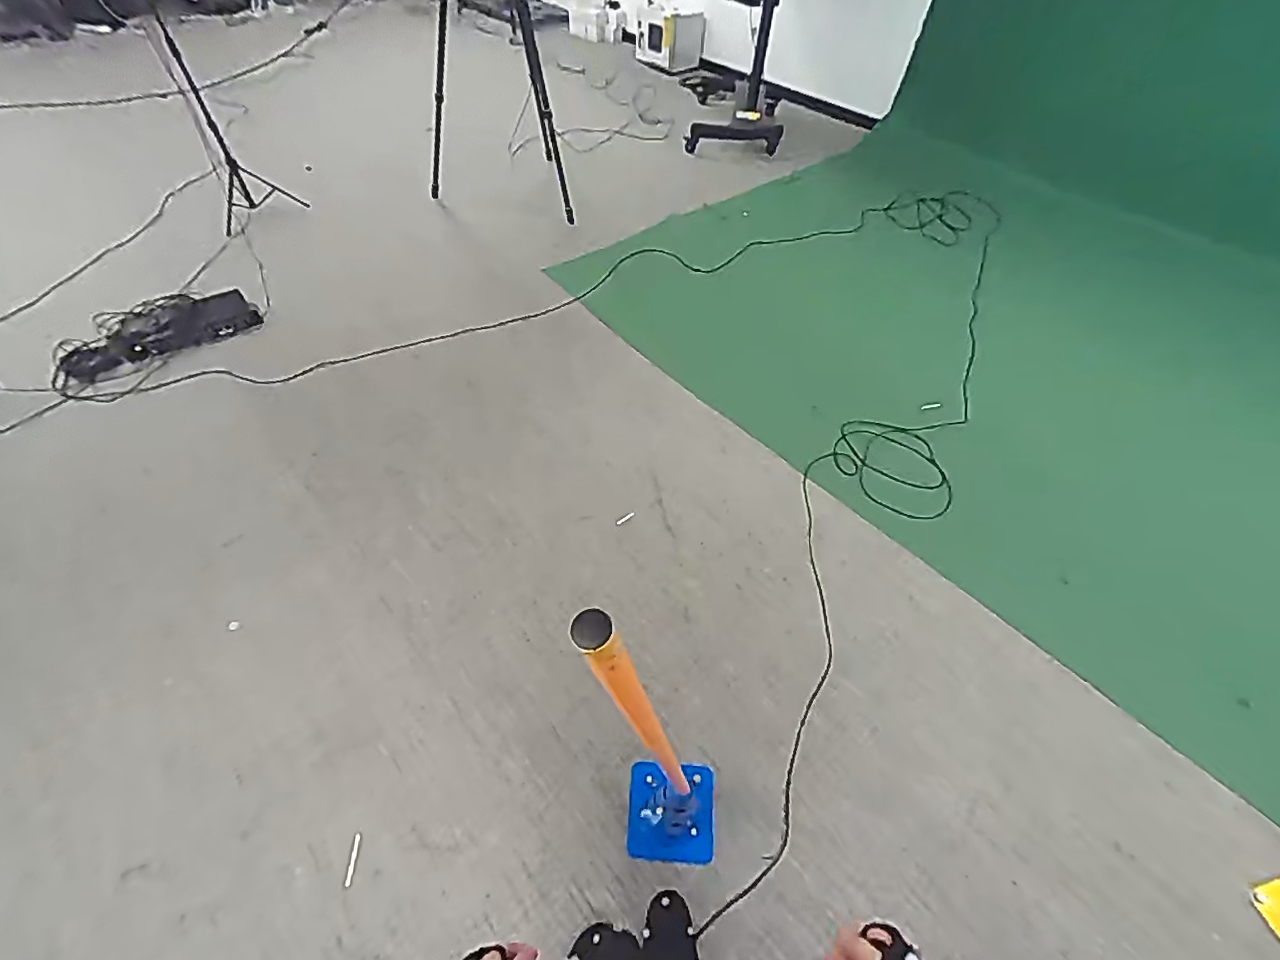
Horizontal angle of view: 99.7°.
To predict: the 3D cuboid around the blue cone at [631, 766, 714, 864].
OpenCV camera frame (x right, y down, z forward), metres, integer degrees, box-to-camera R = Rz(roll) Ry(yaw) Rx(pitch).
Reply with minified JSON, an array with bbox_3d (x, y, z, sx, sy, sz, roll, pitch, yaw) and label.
[{"bbox_3d":[0.075,0.670,1.119,0.193,0.380,0.192,2,53,1],"label":"blue cone"}]
